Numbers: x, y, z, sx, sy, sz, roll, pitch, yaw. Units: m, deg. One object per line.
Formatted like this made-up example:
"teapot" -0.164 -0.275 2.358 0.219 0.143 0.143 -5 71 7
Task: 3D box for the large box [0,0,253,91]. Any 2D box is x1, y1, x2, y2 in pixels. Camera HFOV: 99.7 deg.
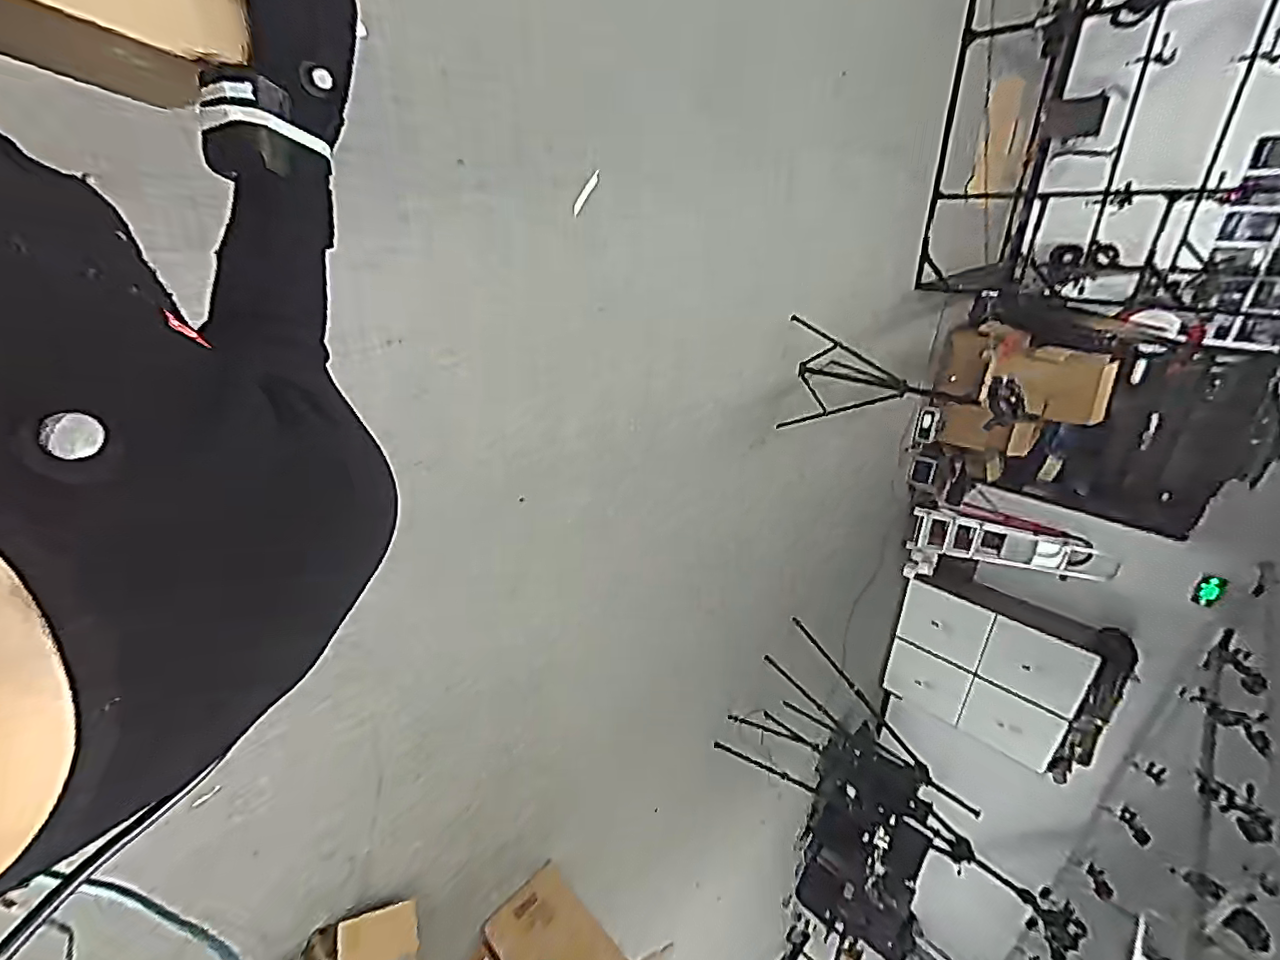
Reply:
"large box" -0.508 -0.488 0.306 0.408 0.320 0.320 -9 118 -50
